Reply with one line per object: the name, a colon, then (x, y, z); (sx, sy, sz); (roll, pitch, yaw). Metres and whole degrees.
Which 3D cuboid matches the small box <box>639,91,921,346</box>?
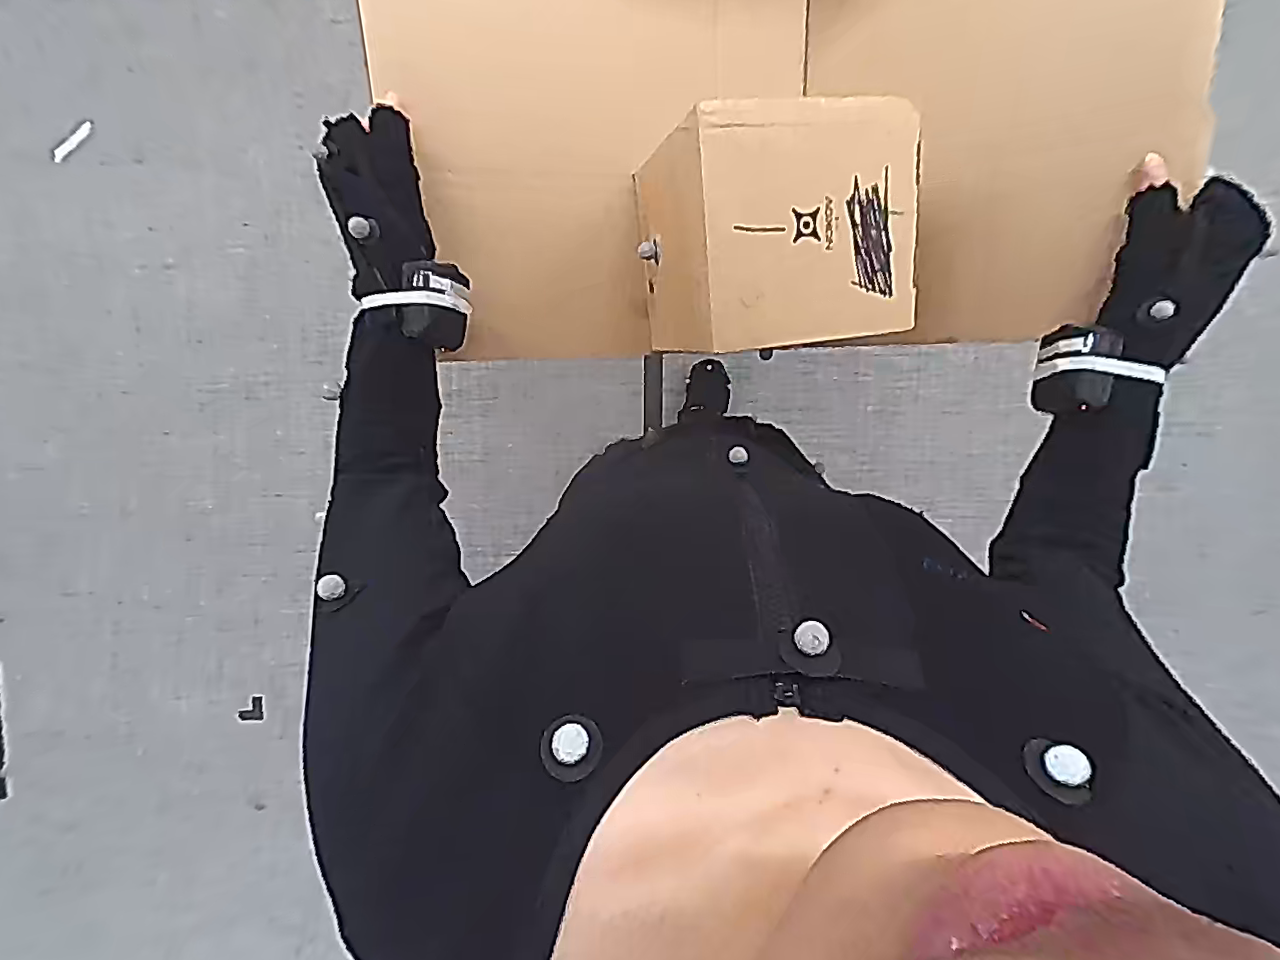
small box: (0.109, -0.211, 0.471); (0.179, 0.176, 0.168); (-10, 106, -12)
